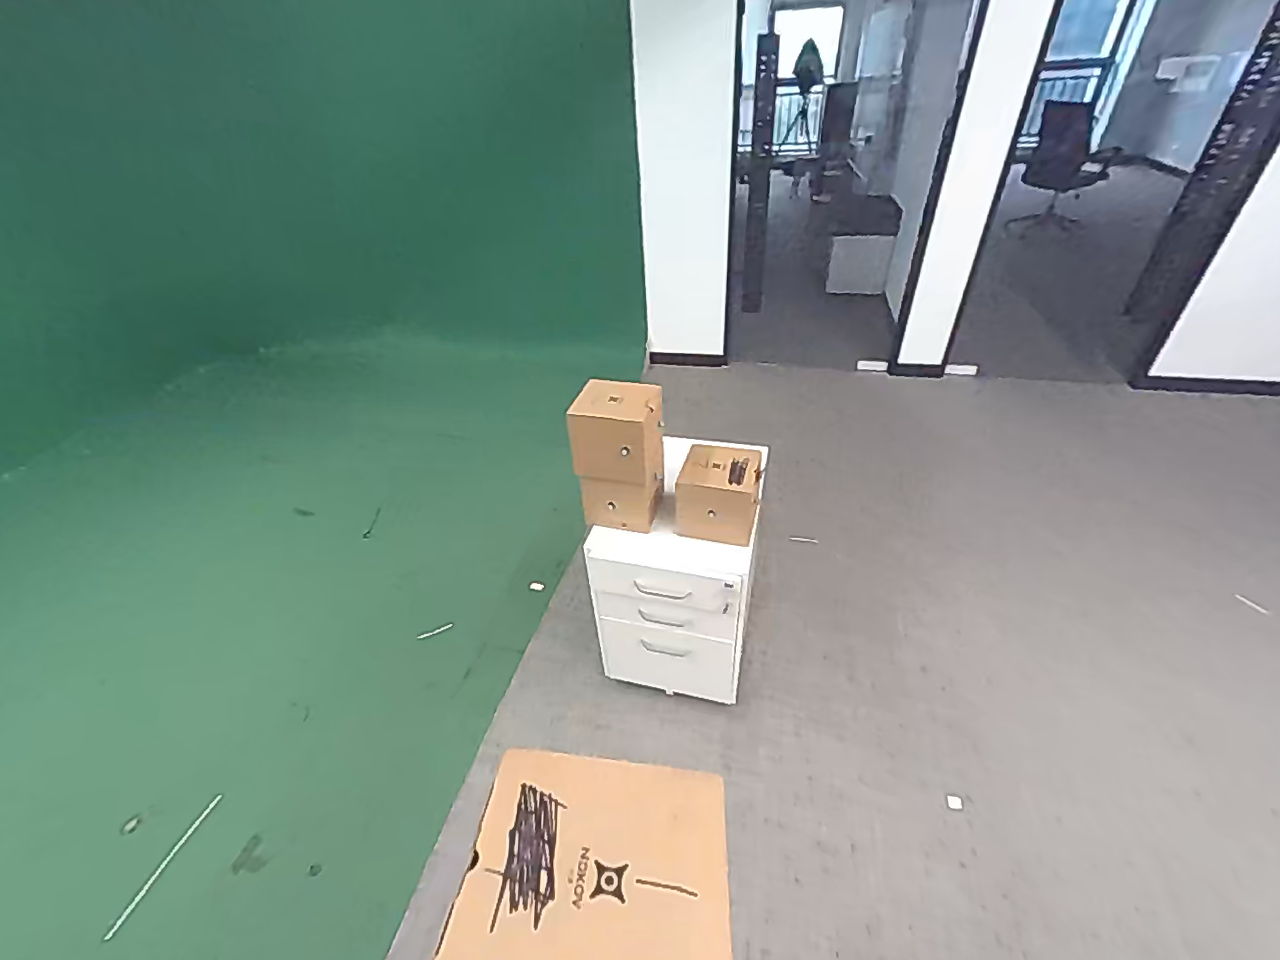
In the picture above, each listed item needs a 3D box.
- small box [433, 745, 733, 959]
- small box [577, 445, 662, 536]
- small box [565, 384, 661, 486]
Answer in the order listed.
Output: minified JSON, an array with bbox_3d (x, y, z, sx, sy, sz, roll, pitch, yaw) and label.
[{"bbox_3d":[-0.033,0.330,0.395,0.179,0.176,0.168,7,28,2],"label":"small box"},{"bbox_3d":[-0.042,0.016,1.352,0.168,0.176,0.179,9,39,13],"label":"small box"},{"bbox_3d":[-0.053,-0.103,1.242,0.179,0.176,0.168,7,38,13],"label":"small box"}]
